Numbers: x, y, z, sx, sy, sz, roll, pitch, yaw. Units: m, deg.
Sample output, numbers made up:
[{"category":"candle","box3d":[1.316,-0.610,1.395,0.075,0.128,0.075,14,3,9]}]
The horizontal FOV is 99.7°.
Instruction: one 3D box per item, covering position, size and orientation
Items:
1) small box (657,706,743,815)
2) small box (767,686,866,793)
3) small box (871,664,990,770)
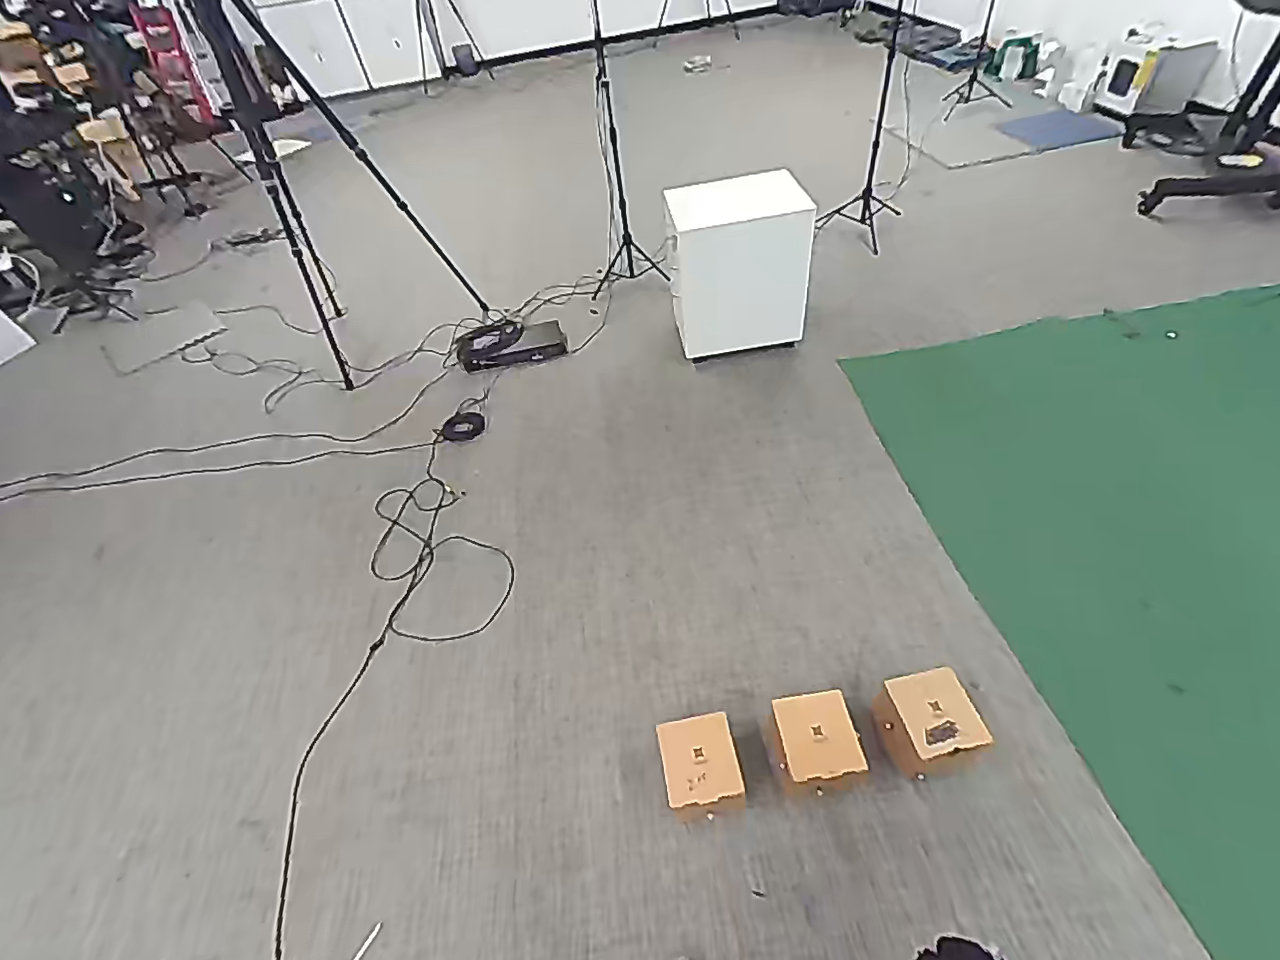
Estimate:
[{"category":"small box","box3d":[0.138,0.657,1.264,0.168,0.176,0.179,-11,49,1]},{"category":"small box","box3d":[0.403,0.610,1.267,0.168,0.176,0.179,-9,49,1]},{"category":"small box","box3d":[0.667,0.561,1.267,0.168,0.176,0.179,-12,48,-1]}]
